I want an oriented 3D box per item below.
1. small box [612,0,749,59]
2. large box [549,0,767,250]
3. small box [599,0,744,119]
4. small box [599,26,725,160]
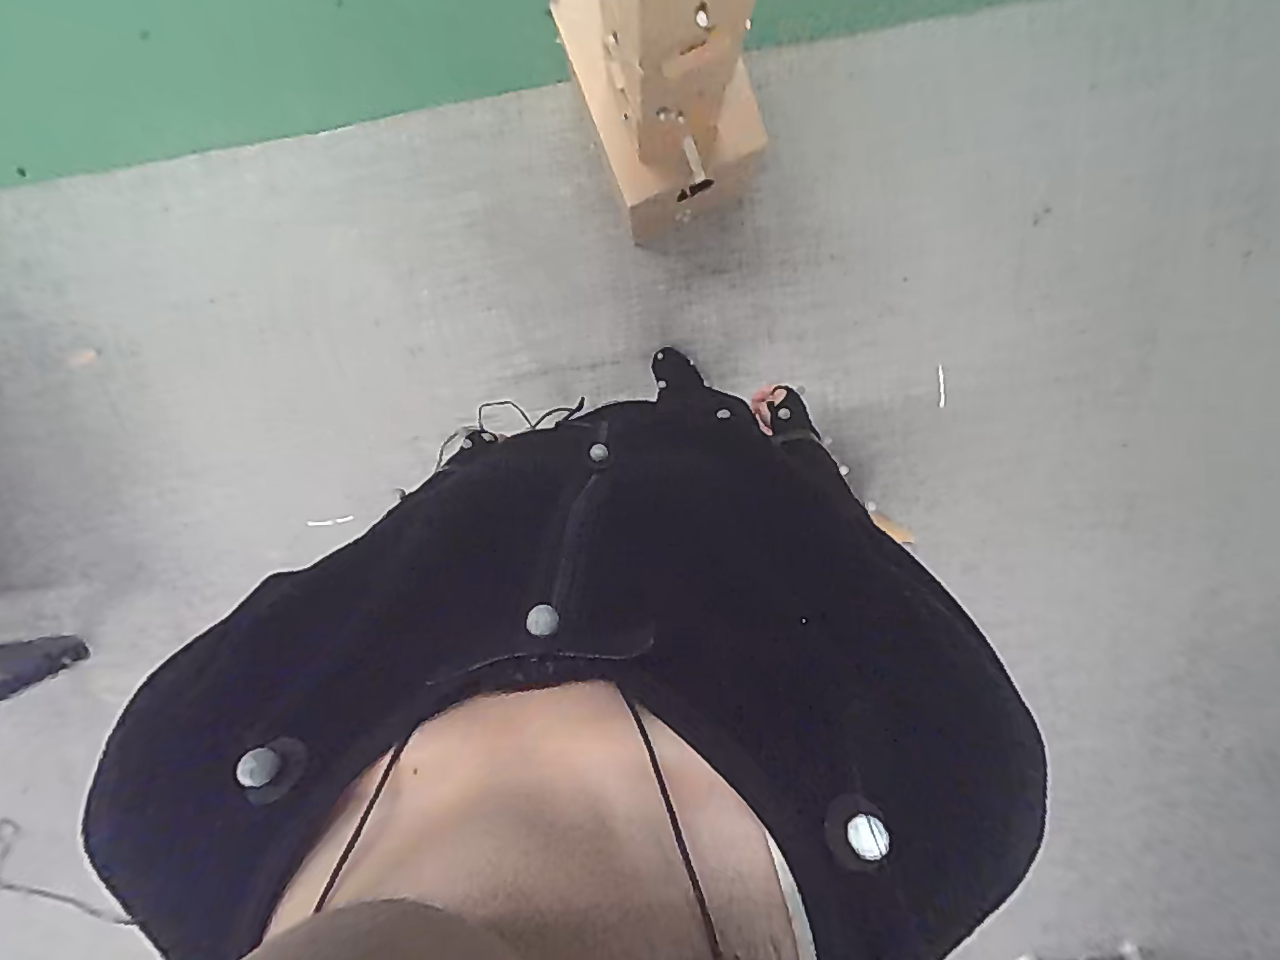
[{"bbox_3d":[0.041,-0.662,0.656,0.168,0.176,0.179,-22,100,5],"label":"small box"},{"bbox_3d":[0.043,-0.805,1.212,0.320,0.320,0.408,-22,98,4],"label":"large box"},{"bbox_3d":[0.043,-0.688,0.819,0.168,0.176,0.179,-22,99,5],"label":"small box"},{"bbox_3d":[0.042,-0.719,0.979,0.179,0.176,0.168,-21,99,5],"label":"small box"}]
